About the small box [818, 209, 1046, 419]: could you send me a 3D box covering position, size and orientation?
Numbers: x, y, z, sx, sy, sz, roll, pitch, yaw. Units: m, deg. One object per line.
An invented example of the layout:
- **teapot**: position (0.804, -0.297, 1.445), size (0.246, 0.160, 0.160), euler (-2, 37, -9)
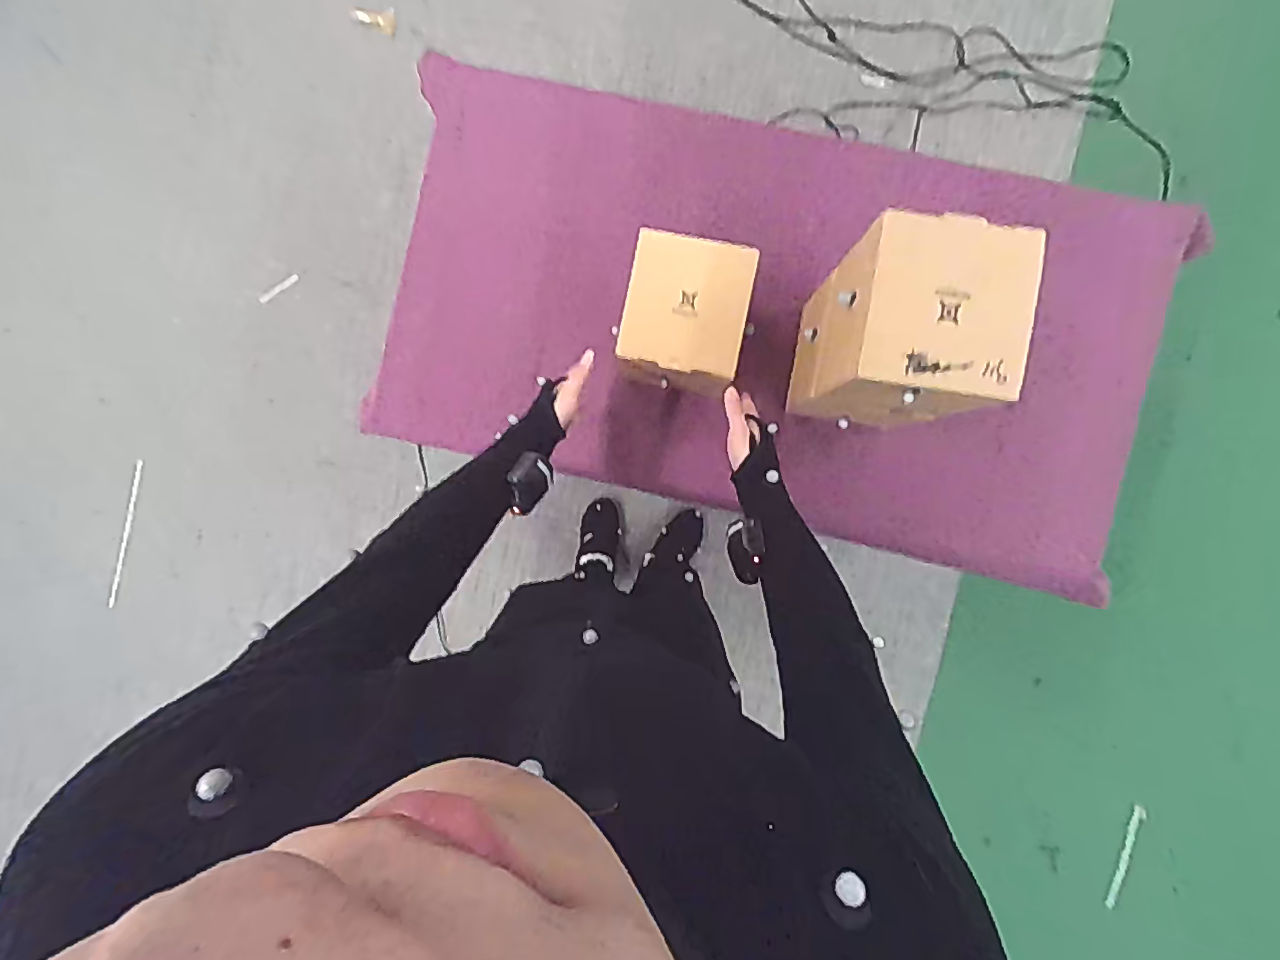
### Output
- **small box**: position (0.317, -0.177, 0.624), size (0.168, 0.176, 0.179), euler (9, 90, 3)

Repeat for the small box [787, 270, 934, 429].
- **small box**: position (0.324, -0.178, 0.788), size (0.168, 0.176, 0.179), euler (10, 91, 3)
